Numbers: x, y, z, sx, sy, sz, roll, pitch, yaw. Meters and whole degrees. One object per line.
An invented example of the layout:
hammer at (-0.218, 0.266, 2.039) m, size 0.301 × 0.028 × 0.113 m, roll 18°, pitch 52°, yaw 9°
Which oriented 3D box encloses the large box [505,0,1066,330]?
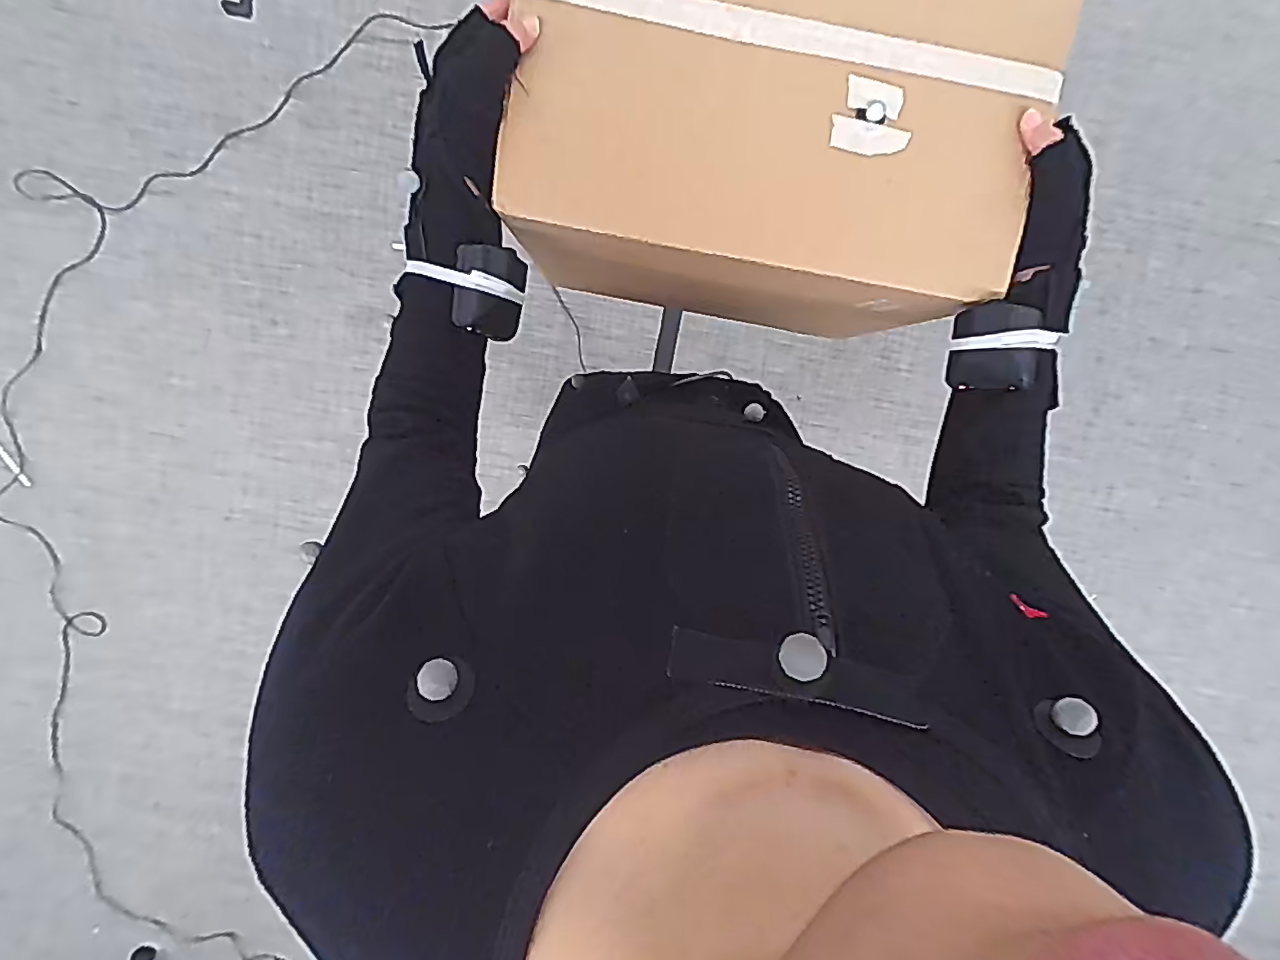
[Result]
large box at (0.105, -0.353, 0.550) m, size 0.408 × 0.320 × 0.320 m, roll 9°, pitch 100°, yaw -4°
